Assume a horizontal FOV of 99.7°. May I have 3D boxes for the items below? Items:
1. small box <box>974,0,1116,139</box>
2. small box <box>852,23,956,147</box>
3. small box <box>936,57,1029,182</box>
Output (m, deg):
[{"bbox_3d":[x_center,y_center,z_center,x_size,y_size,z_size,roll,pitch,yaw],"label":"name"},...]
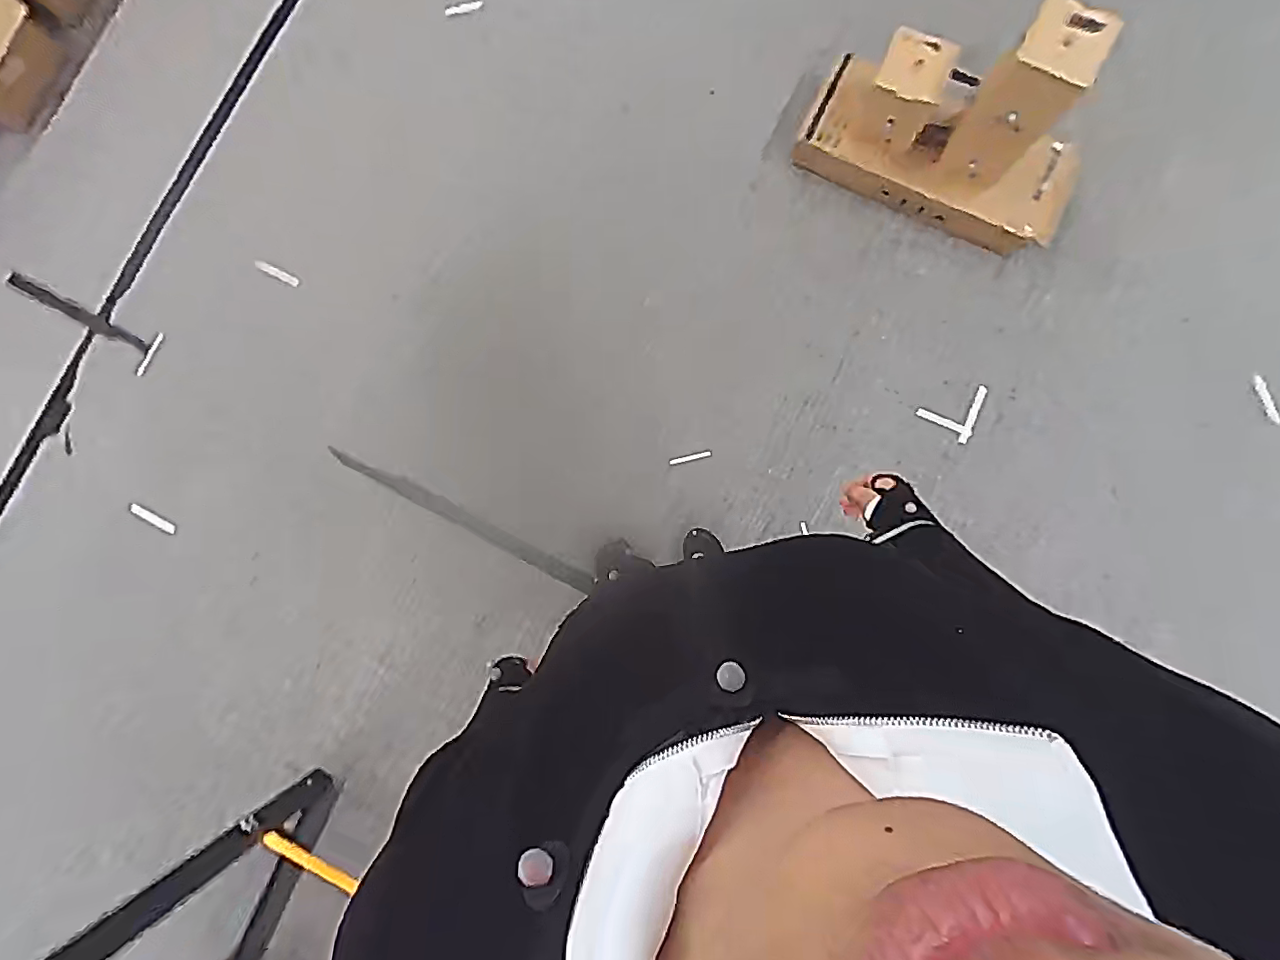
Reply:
[{"bbox_3d":[0.909,-0.936,1.233,0.168,0.176,0.179,29,86,5],"label":"small box"},{"bbox_3d":[0.678,-1.021,1.413,0.168,0.176,0.179,23,86,4],"label":"small box"},{"bbox_3d":[0.904,-0.922,1.397,0.168,0.176,0.179,25,85,4],"label":"small box"}]
